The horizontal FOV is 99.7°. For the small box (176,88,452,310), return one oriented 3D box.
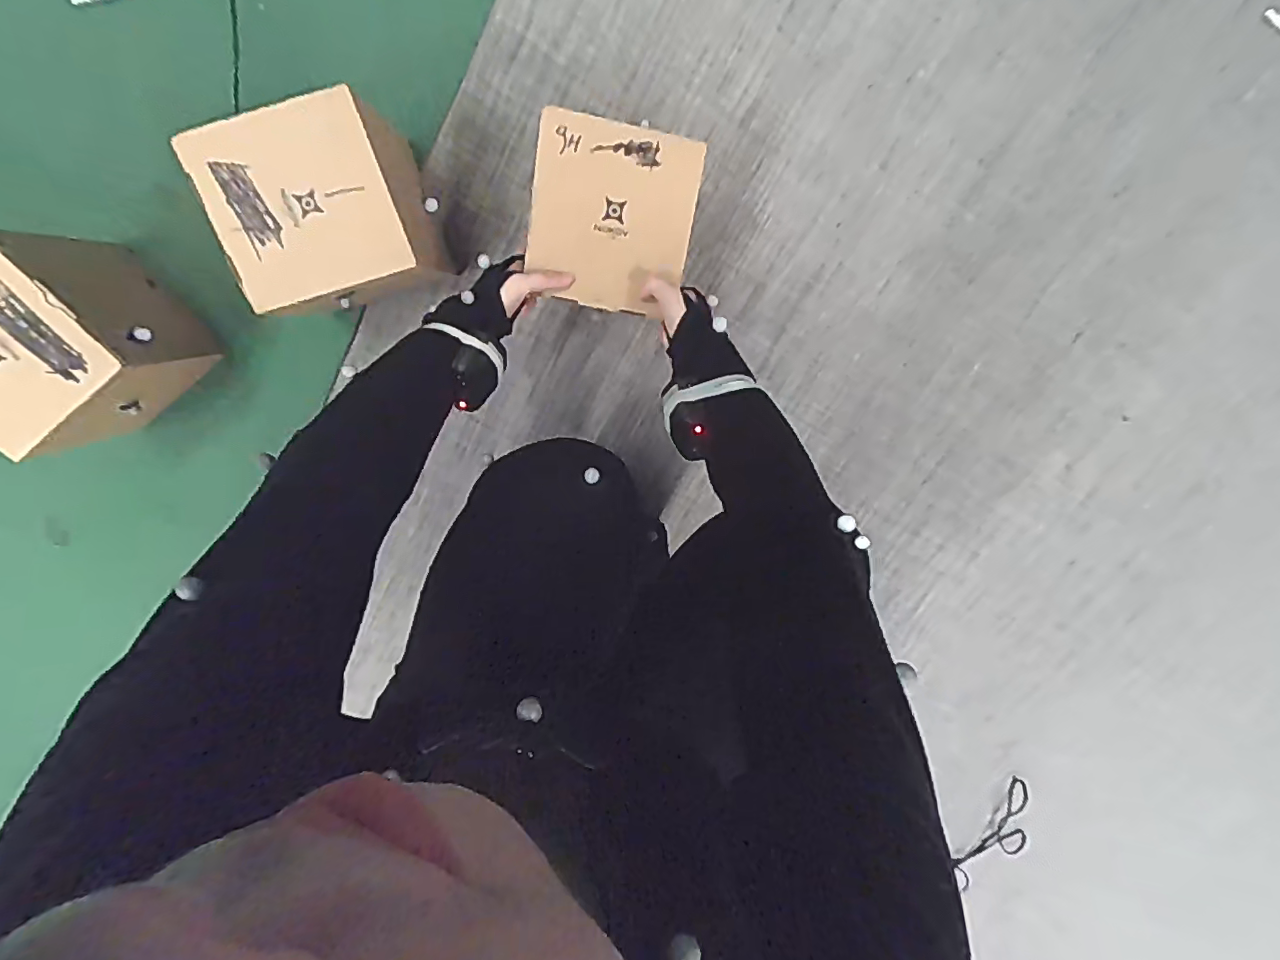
[{"bbox_3d":[-0.337,-0.292,0.603,0.179,0.176,0.168,-16,108,0],"label":"small box"}]

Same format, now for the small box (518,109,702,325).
[{"bbox_3d":[-0.038,-0.289,0.629,0.168,0.176,0.179,9,108,-8],"label":"small box"}]
